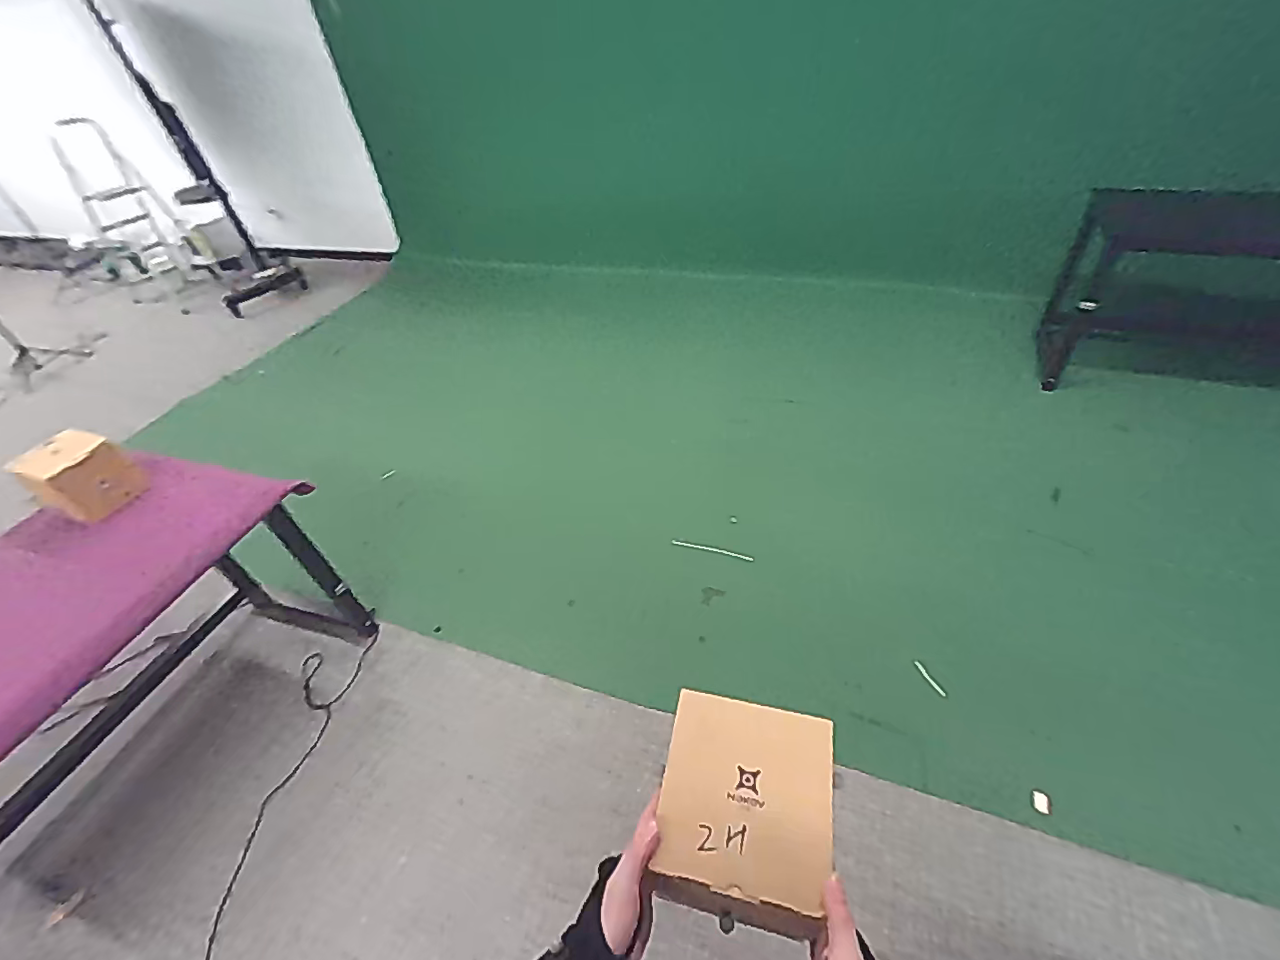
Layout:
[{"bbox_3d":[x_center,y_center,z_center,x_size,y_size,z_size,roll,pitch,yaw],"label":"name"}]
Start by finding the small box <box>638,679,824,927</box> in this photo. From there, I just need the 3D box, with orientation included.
[{"bbox_3d":[0.101,0.354,0.596,0.168,0.176,0.179,7,47,13],"label":"small box"}]

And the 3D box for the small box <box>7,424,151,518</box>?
[{"bbox_3d":[-1.481,-0.021,1.442,0.179,0.176,0.168,13,47,17],"label":"small box"}]
